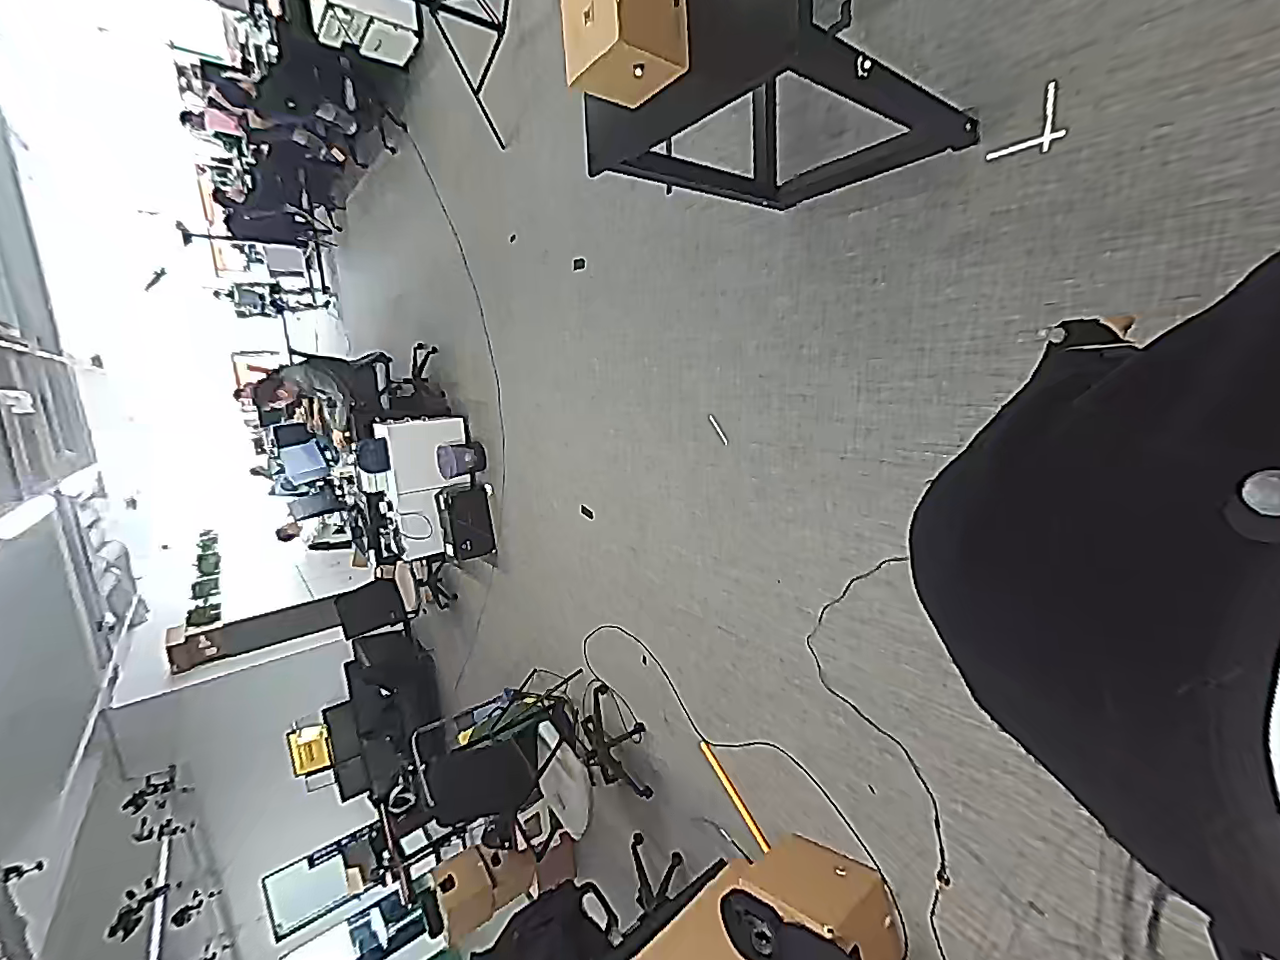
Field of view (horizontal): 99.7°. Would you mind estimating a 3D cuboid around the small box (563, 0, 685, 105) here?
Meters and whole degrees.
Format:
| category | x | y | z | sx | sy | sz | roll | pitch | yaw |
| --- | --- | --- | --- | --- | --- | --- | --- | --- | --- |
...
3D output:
| category | x | y | z | sx | sy | sz | roll | pitch | yaw |
| --- | --- | --- | --- | --- | --- | --- | --- | --- | --- |
| small box | -0.026 | -0.855 | 1.027 | 0.179 | 0.176 | 0.168 | 9 | 105 | 52 |
